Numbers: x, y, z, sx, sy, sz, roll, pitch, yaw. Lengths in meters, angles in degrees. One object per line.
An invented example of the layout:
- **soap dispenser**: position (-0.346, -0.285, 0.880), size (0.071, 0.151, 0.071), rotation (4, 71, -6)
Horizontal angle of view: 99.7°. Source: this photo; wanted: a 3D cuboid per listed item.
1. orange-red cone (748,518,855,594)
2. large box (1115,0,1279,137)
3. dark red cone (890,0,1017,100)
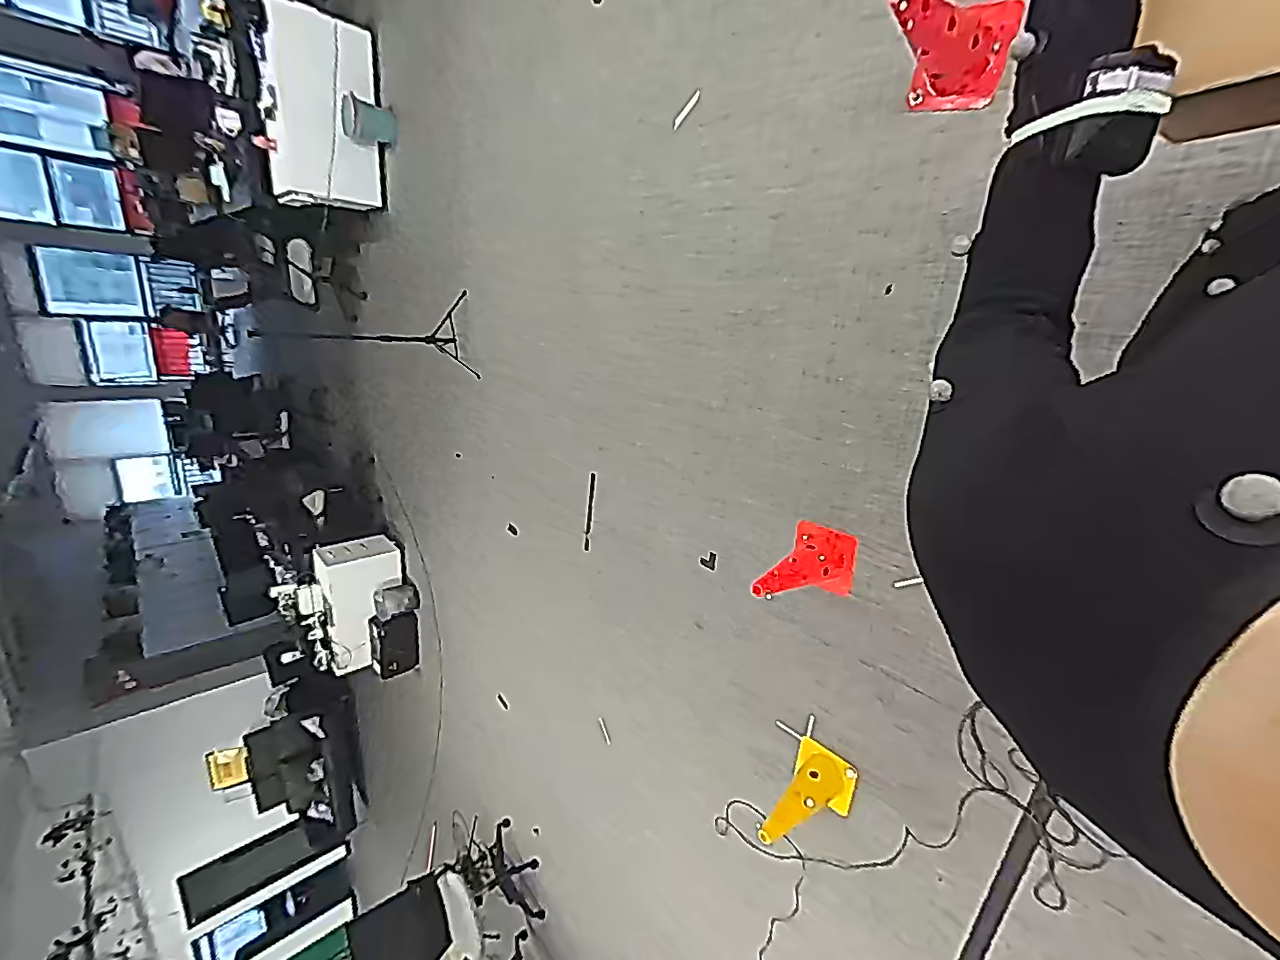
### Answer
- **orange-red cone**: position (0.438, 0.262, 1.569), size (0.198, 0.360, 0.199), rotation (21, 115, 44)
- **large box**: position (0.569, -0.436, 0.300), size (0.408, 0.320, 0.320), rotation (14, 118, 46)
- **dark red cone**: position (0.587, -0.939, 1.096), size (0.201, 0.394, 0.202), rotation (29, 120, 39)
